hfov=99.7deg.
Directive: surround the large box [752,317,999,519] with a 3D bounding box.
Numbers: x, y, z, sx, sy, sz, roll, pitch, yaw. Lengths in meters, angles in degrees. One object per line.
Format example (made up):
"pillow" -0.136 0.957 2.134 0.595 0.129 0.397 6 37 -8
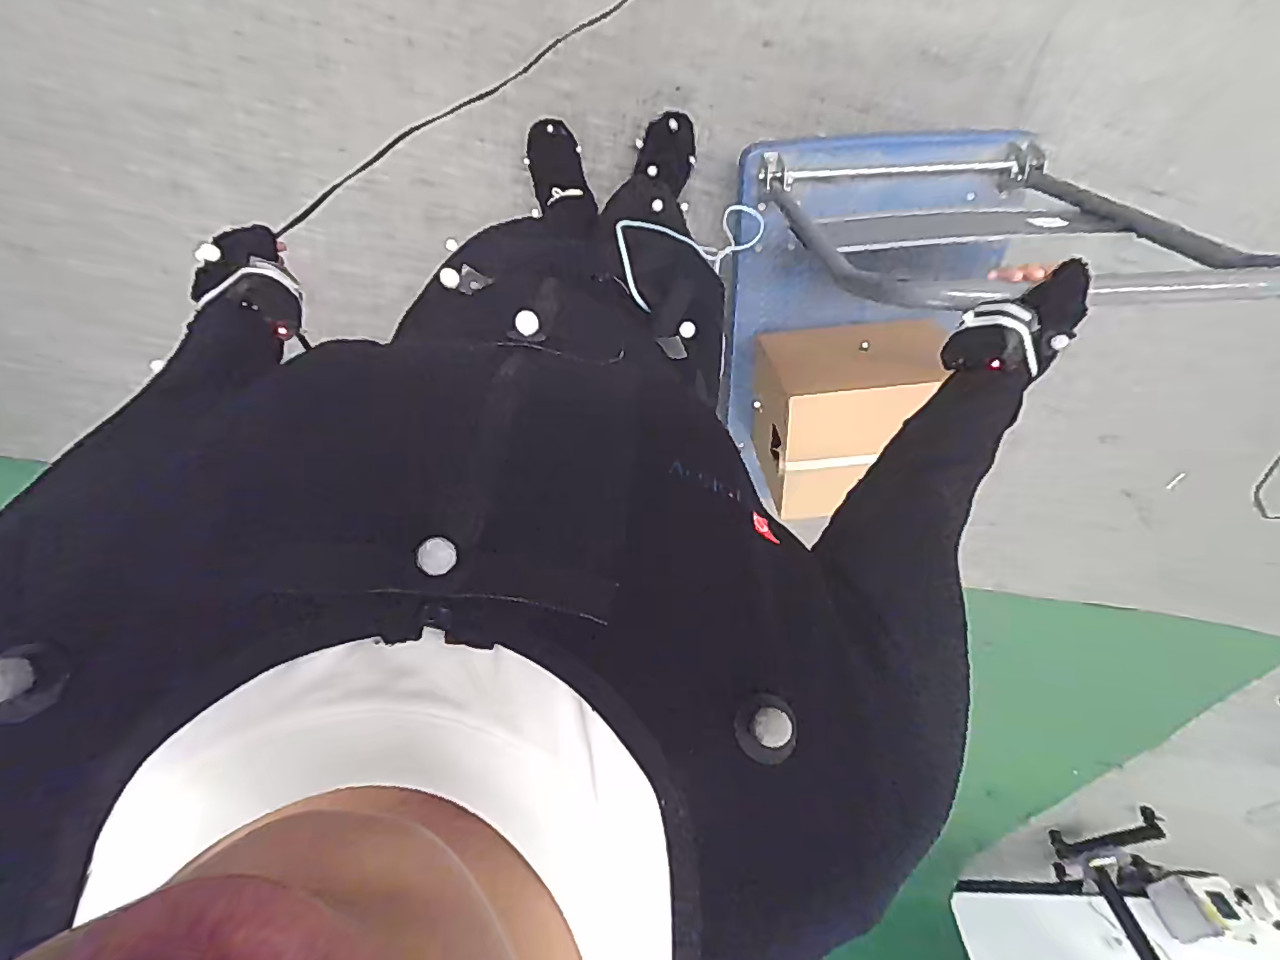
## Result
"large box" 0.481 -0.146 1.217 0.408 0.320 0.320 -7 128 1
